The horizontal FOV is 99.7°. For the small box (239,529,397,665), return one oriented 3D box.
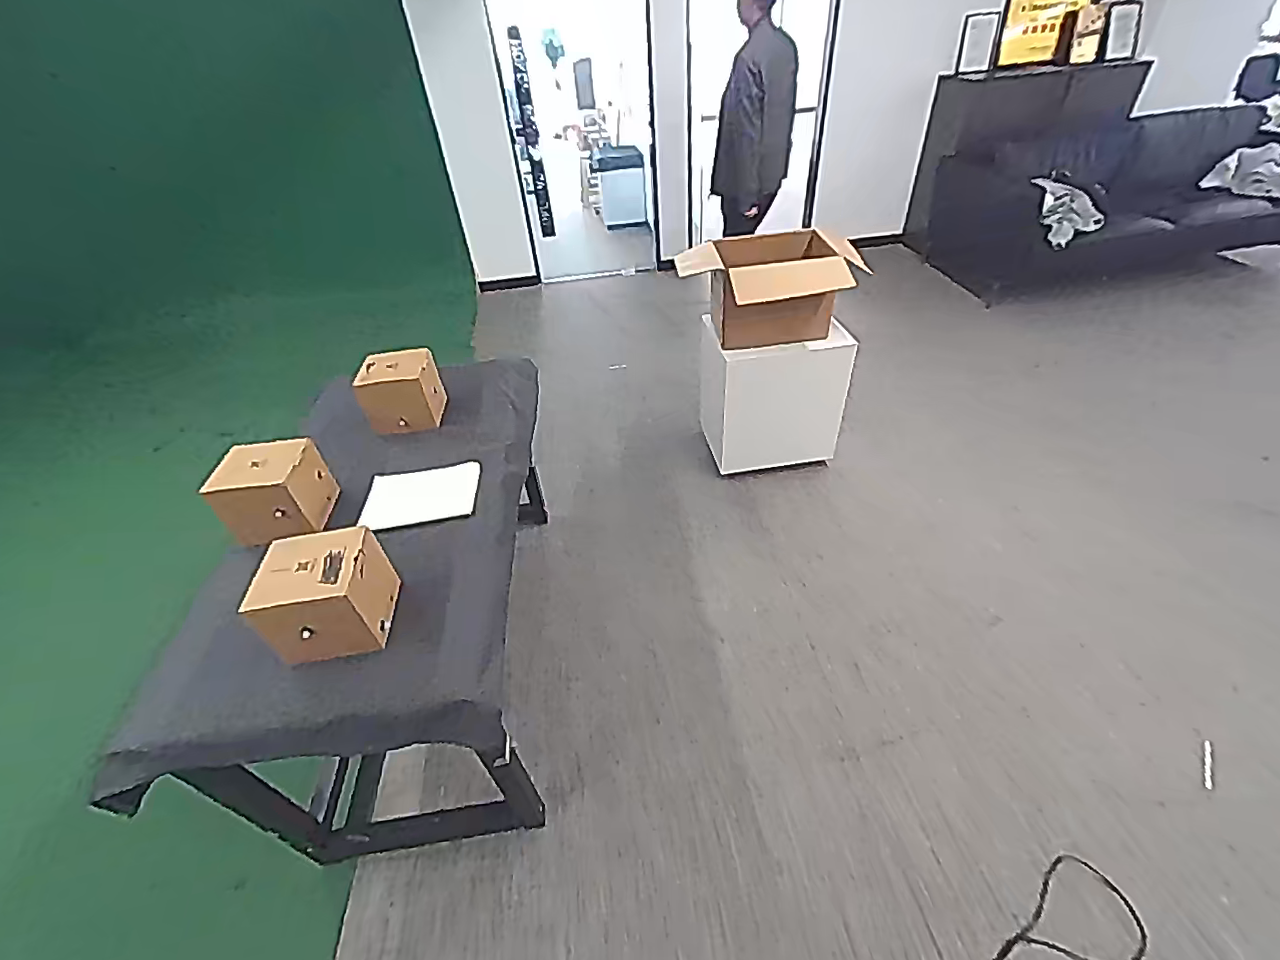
[{"bbox_3d":[-0.572,0.215,0.993,0.179,0.176,0.168,-9,41,-4],"label":"small box"}]

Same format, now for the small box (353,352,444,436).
[{"bbox_3d":[-0.668,-0.243,1.524,0.179,0.176,0.168,-6,41,-3],"label":"small box"}]

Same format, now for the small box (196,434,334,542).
[{"bbox_3d":[-0.827,0.019,1.219,0.179,0.176,0.168,-8,40,-3],"label":"small box"}]
